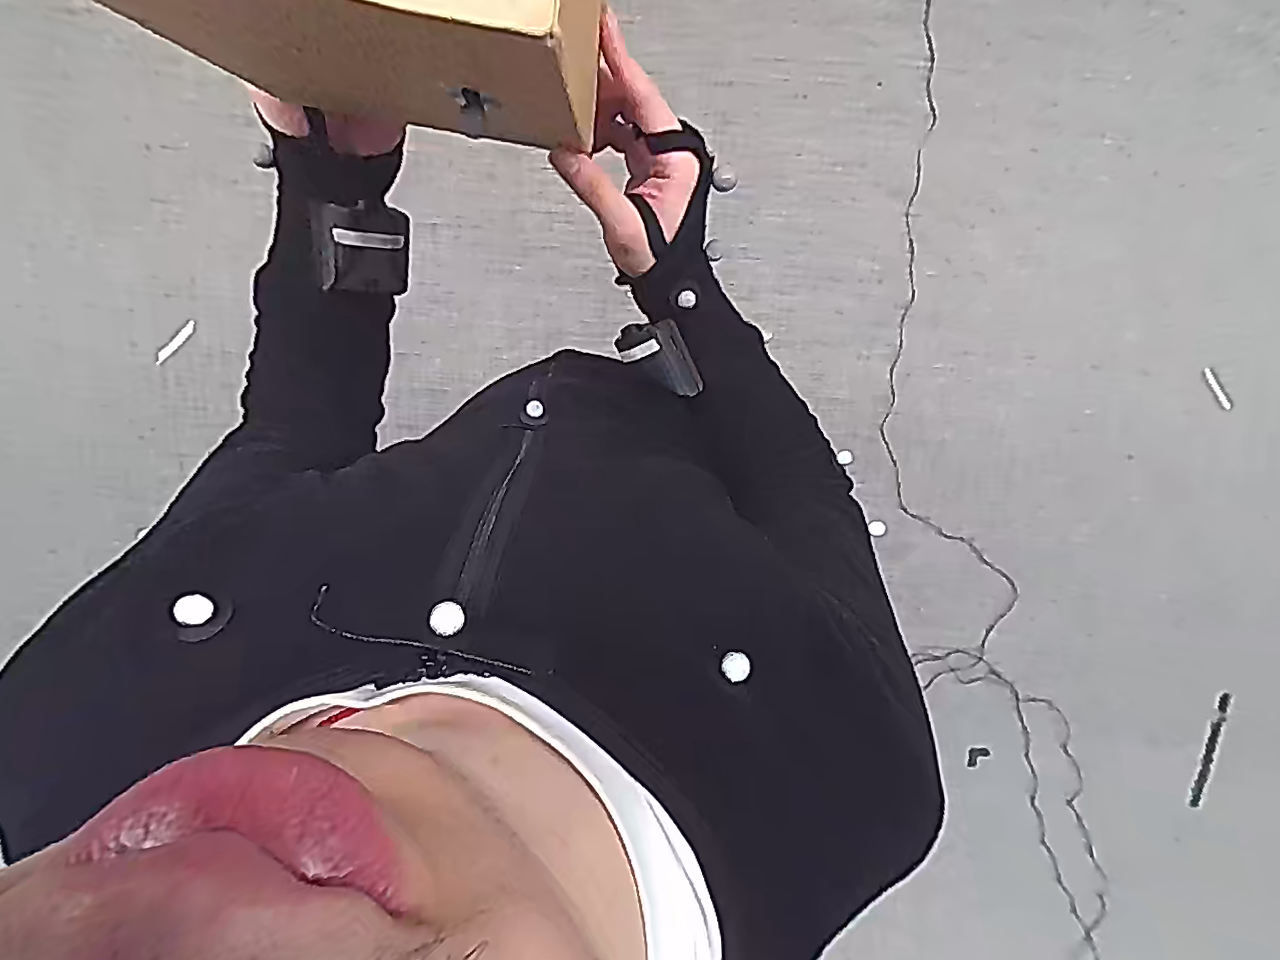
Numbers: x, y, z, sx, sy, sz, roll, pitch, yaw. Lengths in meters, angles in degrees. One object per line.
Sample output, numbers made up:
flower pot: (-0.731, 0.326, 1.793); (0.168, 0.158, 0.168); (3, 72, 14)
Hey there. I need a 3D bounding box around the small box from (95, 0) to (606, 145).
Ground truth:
small box: (-0.099, -0.252, 0.215); (0.179, 0.176, 0.168); (6, 109, -3)
